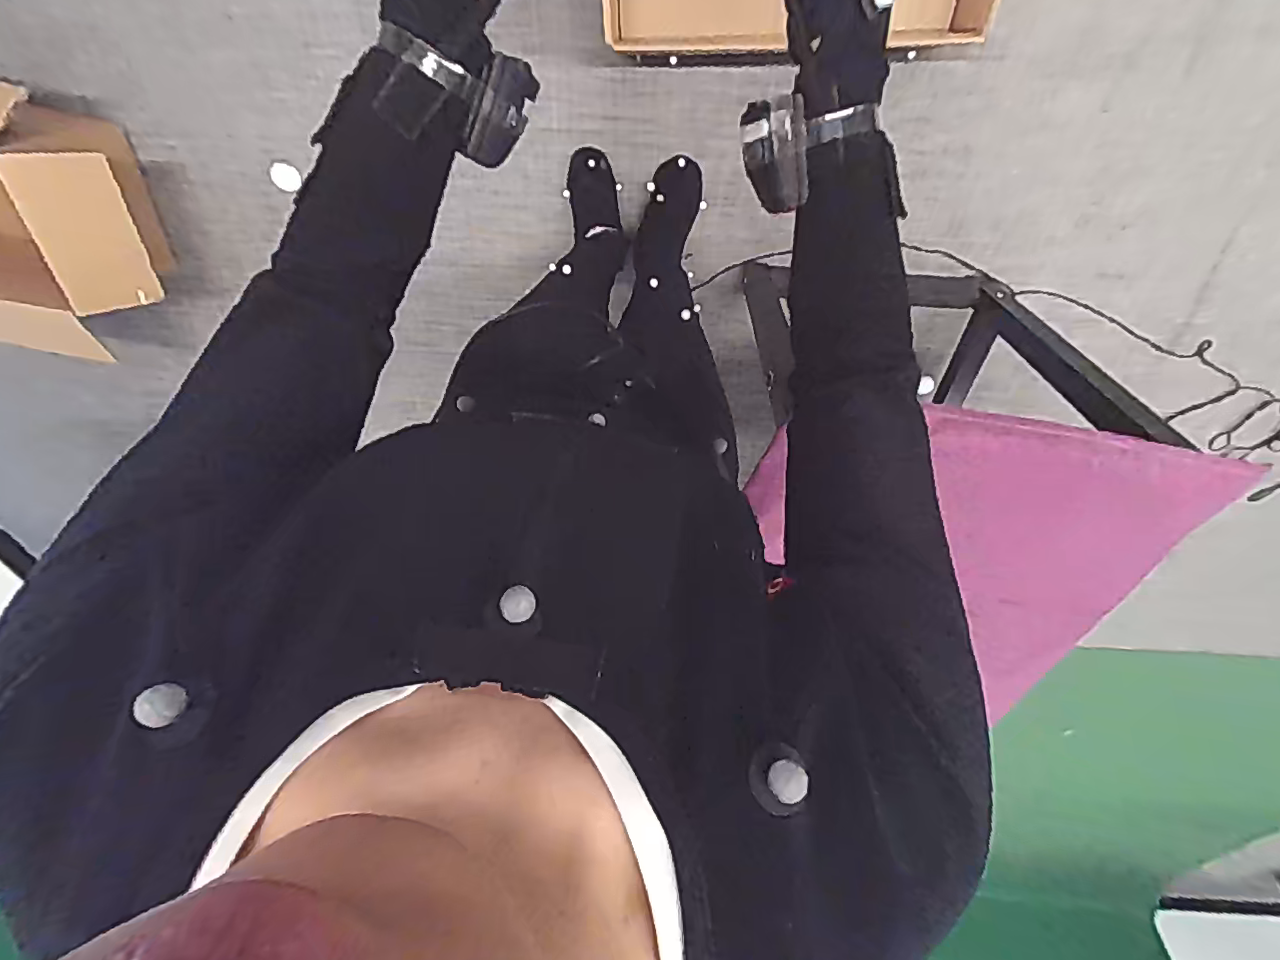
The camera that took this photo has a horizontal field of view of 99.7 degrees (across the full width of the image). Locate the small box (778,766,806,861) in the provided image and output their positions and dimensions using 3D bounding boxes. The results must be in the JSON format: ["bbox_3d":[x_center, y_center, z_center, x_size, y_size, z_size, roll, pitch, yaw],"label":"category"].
[{"bbox_3d":[0.440,0.798,1.300,0.179,0.176,0.168,4,130,0],"label":"small box"}]
